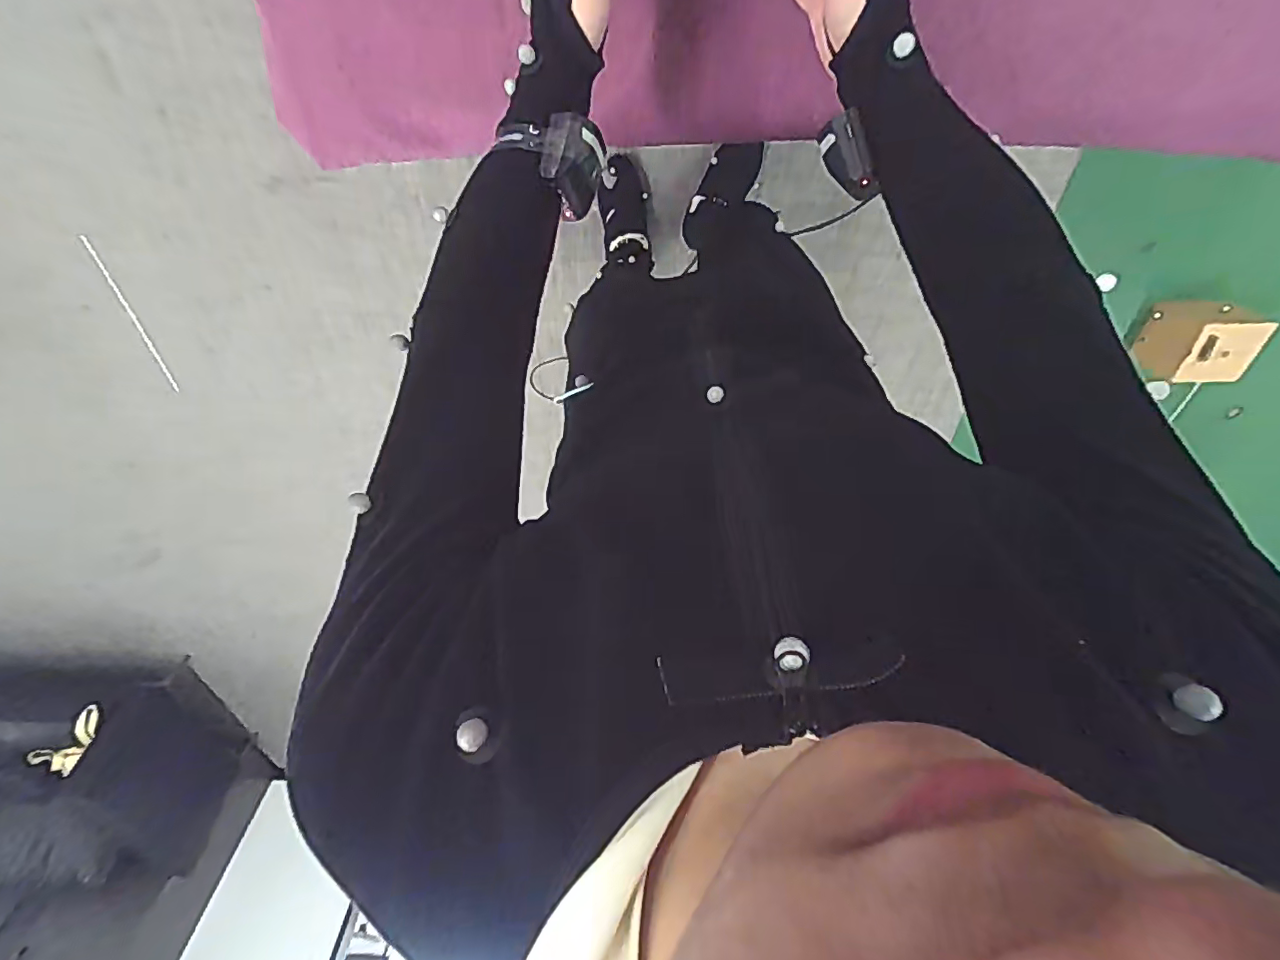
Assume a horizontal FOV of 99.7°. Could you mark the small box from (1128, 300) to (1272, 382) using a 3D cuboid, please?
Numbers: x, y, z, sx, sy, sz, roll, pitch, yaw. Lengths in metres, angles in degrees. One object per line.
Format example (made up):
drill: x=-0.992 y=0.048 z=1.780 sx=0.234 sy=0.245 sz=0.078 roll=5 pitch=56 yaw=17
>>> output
small box: x=1.488 y=-0.376 z=1.454 sx=0.179 sy=0.176 sz=0.168 roll=0 pitch=129 yaw=1
